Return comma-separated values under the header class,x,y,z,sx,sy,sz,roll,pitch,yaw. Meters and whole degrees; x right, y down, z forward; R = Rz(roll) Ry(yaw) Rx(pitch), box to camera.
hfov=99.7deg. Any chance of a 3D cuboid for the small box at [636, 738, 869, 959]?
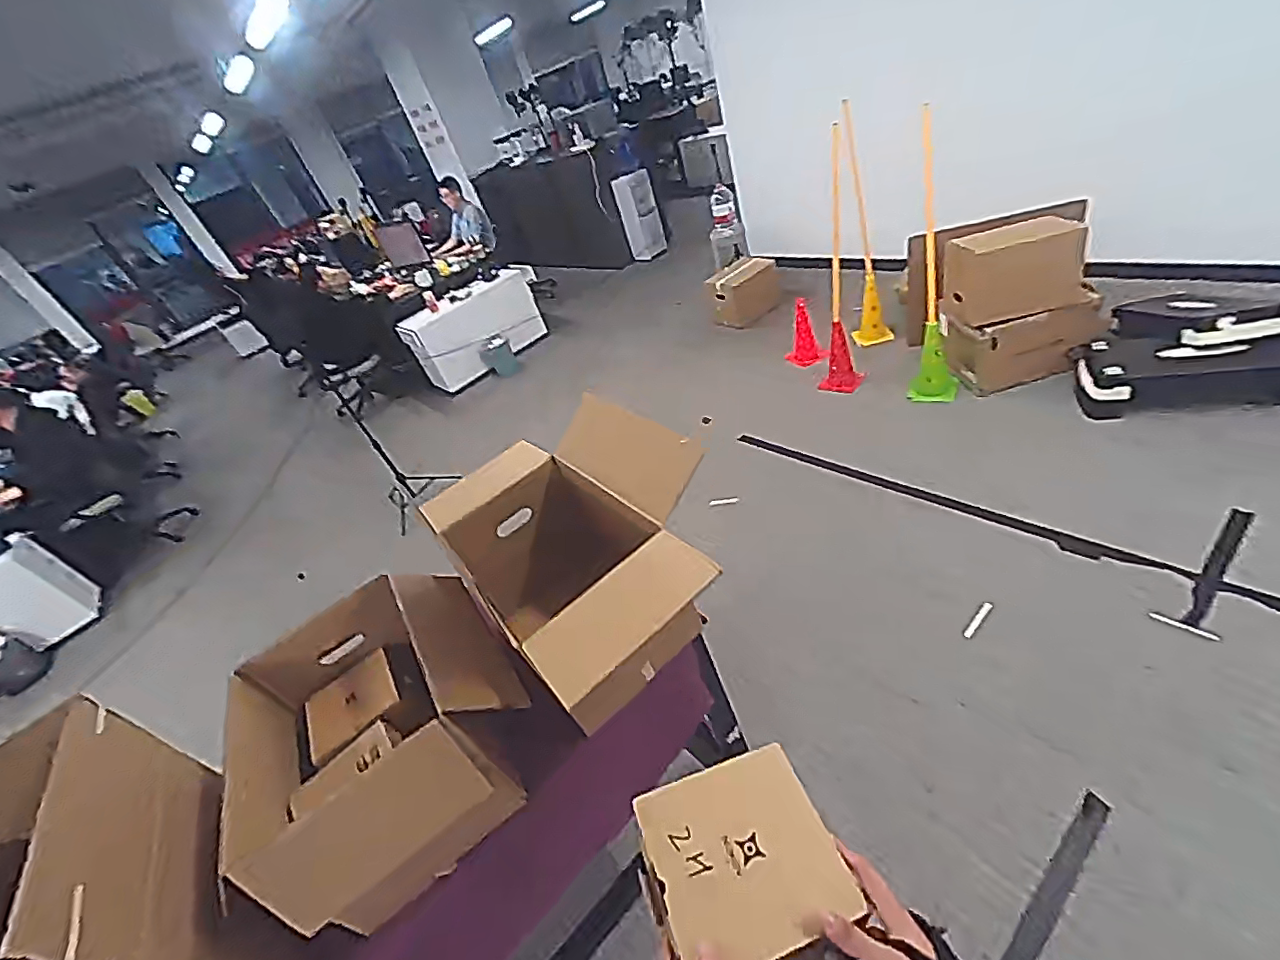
class,x,y,z,sx,sy,sz,roll,pitch,yaw
small box,0.110,0.418,0.579,0.179,0.176,0.168,-18,40,-10
